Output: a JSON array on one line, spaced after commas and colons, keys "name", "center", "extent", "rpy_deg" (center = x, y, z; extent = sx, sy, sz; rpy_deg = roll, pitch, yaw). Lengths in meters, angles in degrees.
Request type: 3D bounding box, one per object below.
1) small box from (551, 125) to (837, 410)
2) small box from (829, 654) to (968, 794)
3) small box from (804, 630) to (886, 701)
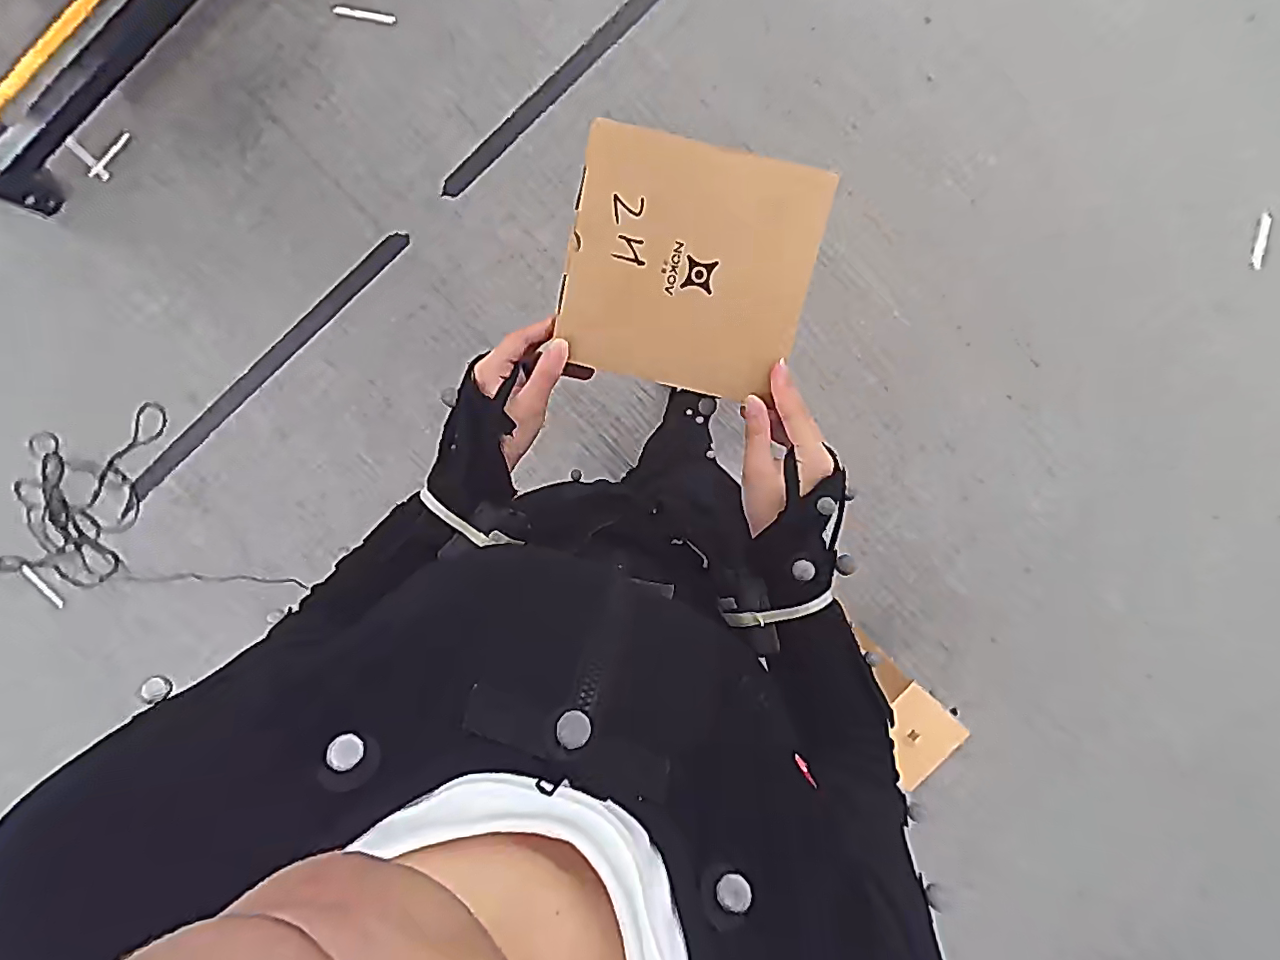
[{"name": "small box", "center": [0.038, -0.165, 0.465], "extent": [0.179, 0.176, 0.168], "rpy_deg": [12, 102, 0]}, {"name": "small box", "center": [0.542, 0.511, 1.161], "extent": [0.168, 0.176, 0.179], "rpy_deg": [42, 94, -4]}, {"name": "small box", "center": [0.533, 0.492, 1.323], "extent": [0.168, 0.176, 0.179], "rpy_deg": [-40, 95, 3]}]
